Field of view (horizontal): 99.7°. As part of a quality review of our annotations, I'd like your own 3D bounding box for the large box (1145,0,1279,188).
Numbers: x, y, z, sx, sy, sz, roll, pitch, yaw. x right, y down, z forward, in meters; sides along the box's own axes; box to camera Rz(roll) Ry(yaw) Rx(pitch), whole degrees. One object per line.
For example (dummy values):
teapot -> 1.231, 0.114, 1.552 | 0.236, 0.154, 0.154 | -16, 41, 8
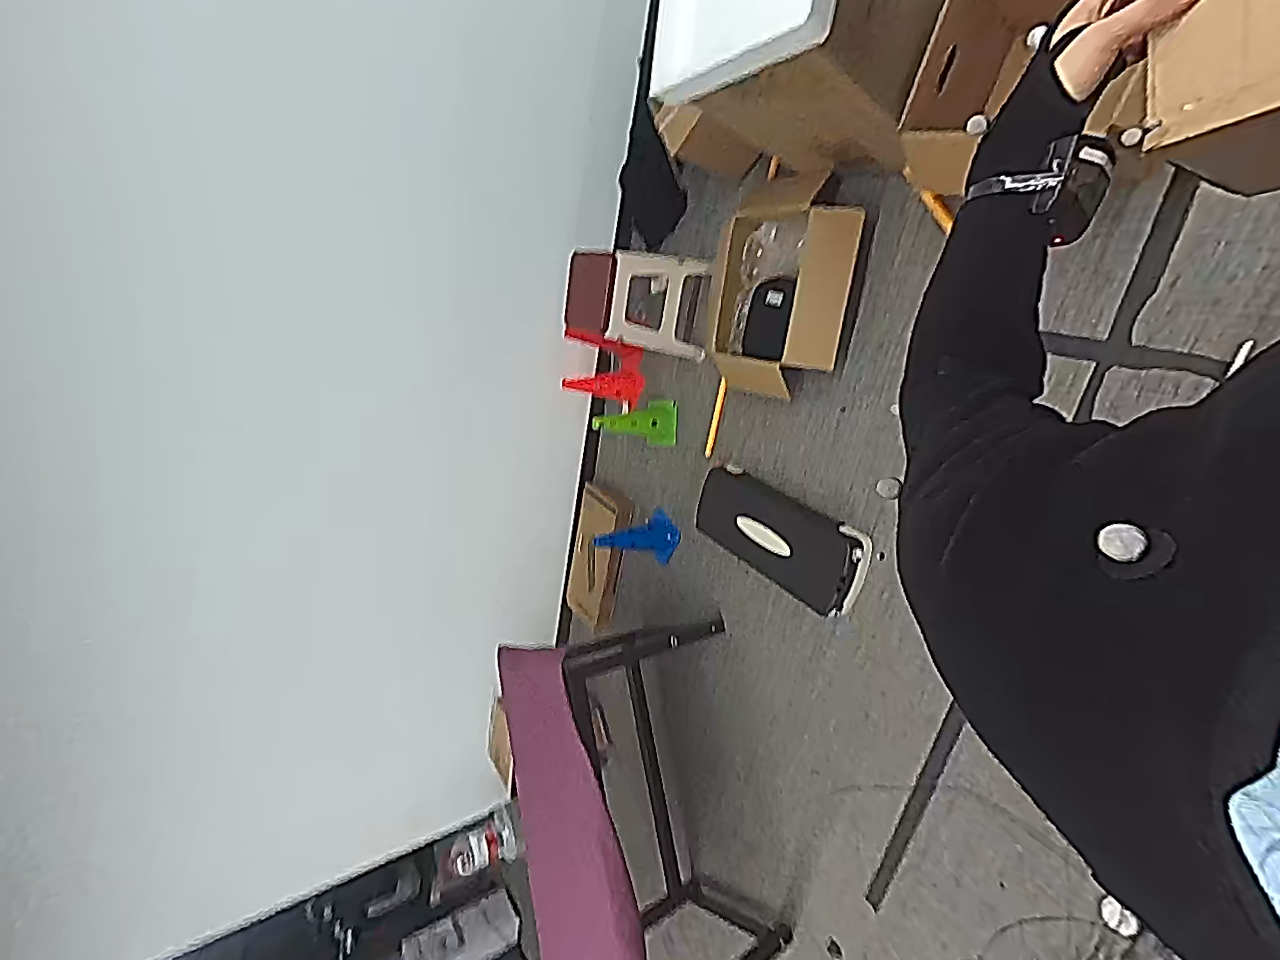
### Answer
large box -> 0.598, -0.415, 0.299 | 0.408, 0.320, 0.320 | 5, 103, 59
